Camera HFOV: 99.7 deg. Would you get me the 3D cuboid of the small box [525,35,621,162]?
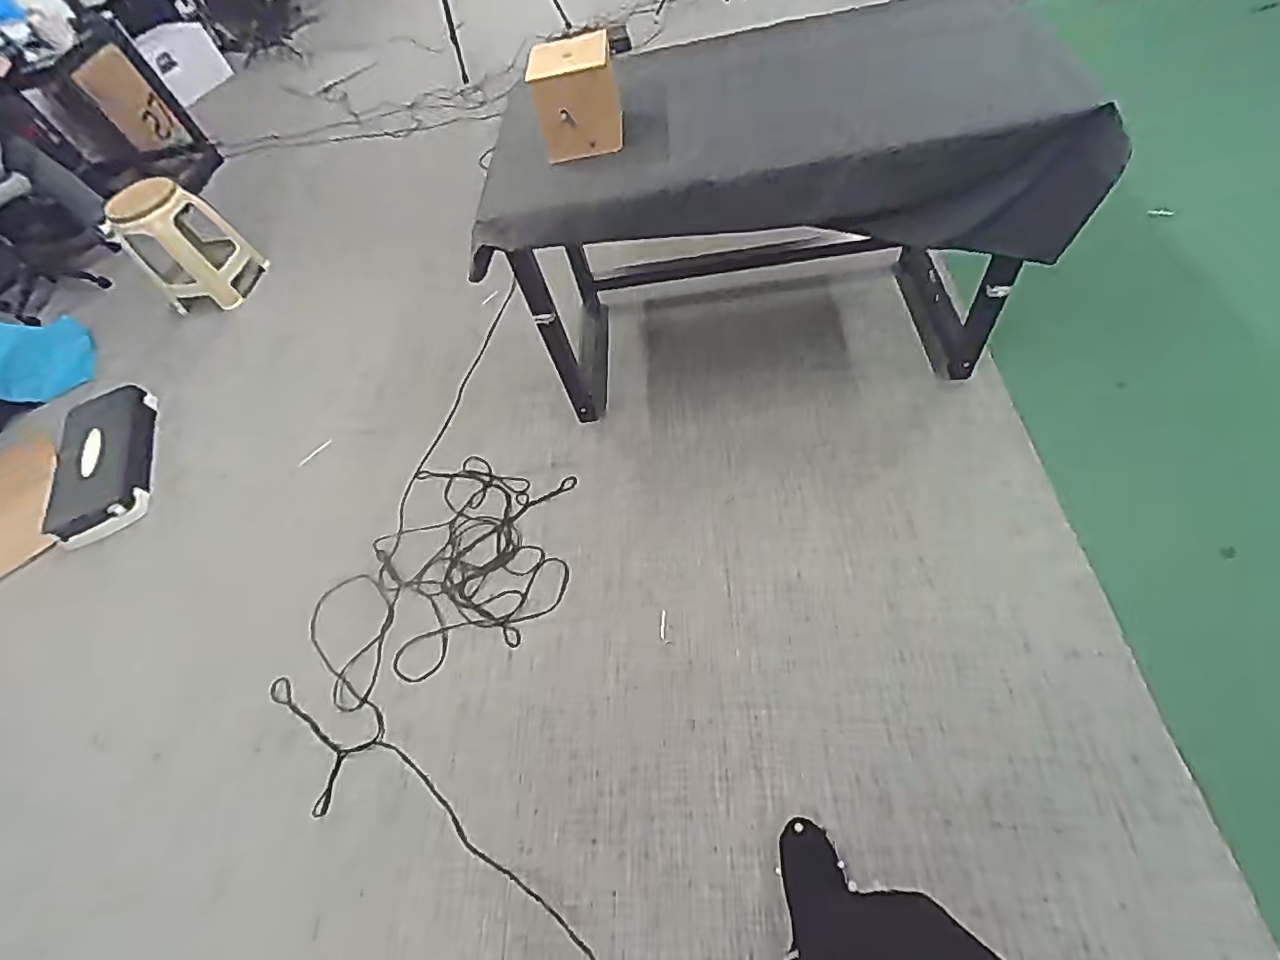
[{"bbox_3d":[-0.137,-0.817,1.173,0.168,0.176,0.179,-7,56,7],"label":"small box"}]
